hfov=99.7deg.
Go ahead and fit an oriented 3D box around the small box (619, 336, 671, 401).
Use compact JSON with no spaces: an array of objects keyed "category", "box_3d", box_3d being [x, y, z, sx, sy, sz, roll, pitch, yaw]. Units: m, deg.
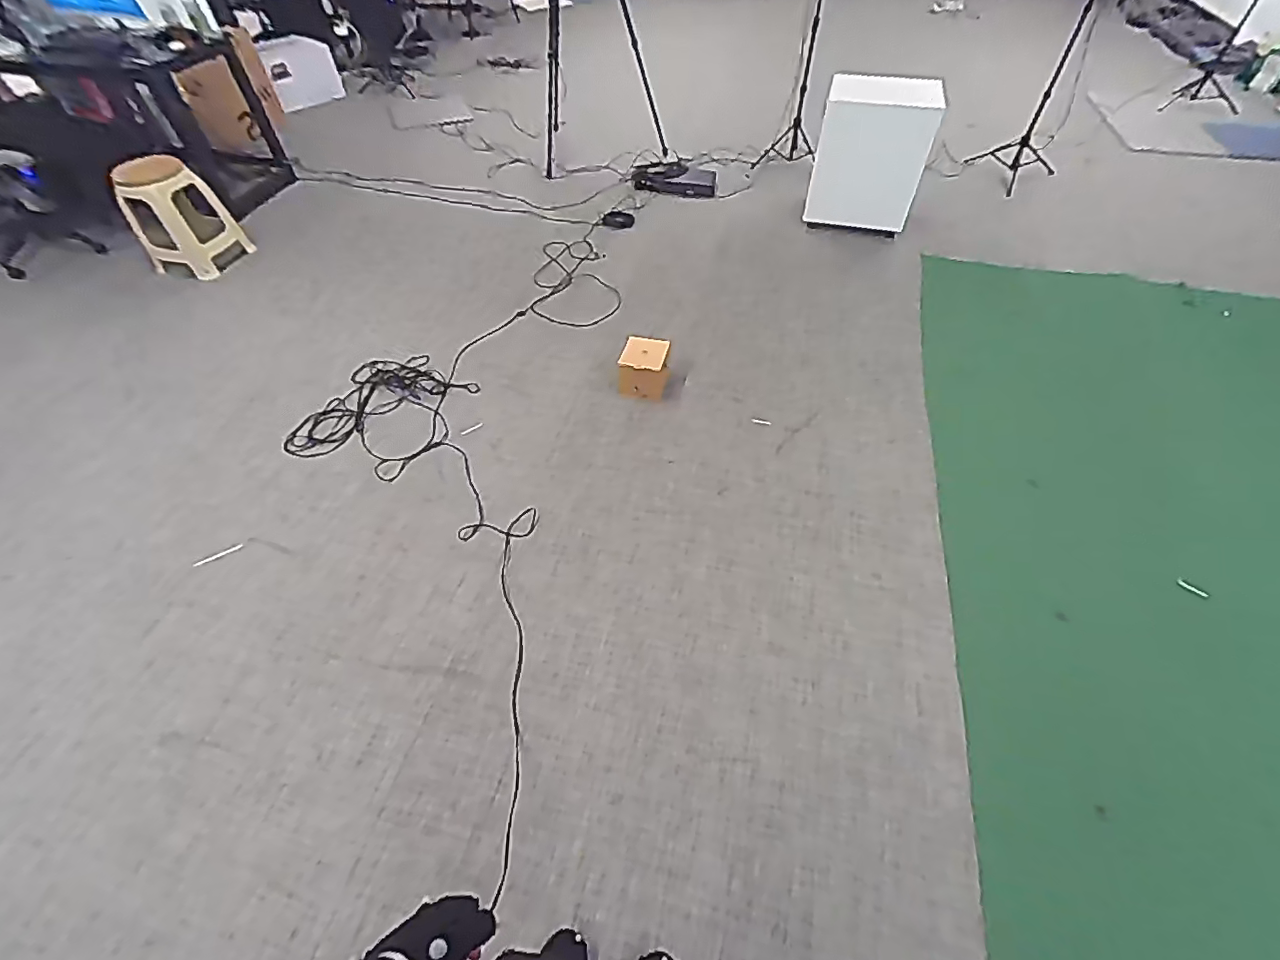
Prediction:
[{"category":"small box","box_3d":[0.020,-0.438,2.126,0.168,0.176,0.179,10,53,10]}]
